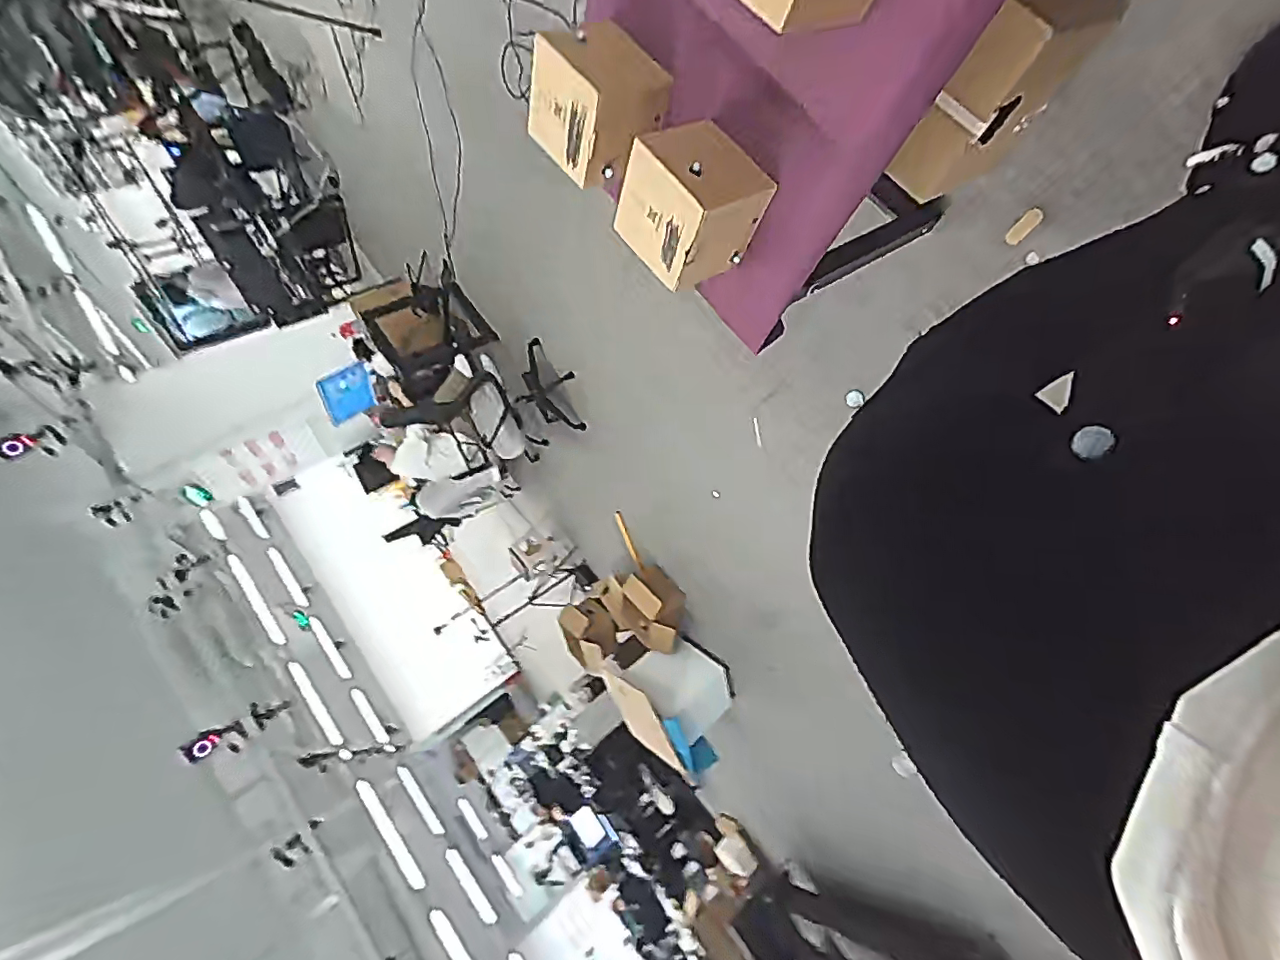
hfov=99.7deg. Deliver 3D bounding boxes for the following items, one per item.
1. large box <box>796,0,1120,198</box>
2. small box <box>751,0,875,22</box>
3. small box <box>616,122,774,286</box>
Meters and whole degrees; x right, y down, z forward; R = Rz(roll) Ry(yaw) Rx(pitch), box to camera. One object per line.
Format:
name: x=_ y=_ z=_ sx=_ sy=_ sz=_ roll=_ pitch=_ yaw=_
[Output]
large box: x=0.614 y=-0.859 z=1.091 sx=0.408 sy=0.320 sz=0.320 roll=52 pitch=151 yaw=14
small box: x=0.187 y=-0.637 z=0.579 sx=0.179 sy=0.176 sz=0.168 roll=52 pitch=153 yaw=13
small box: x=0.090 y=-0.467 z=0.909 sx=0.179 sy=0.176 sz=0.168 roll=53 pitch=152 yaw=13
